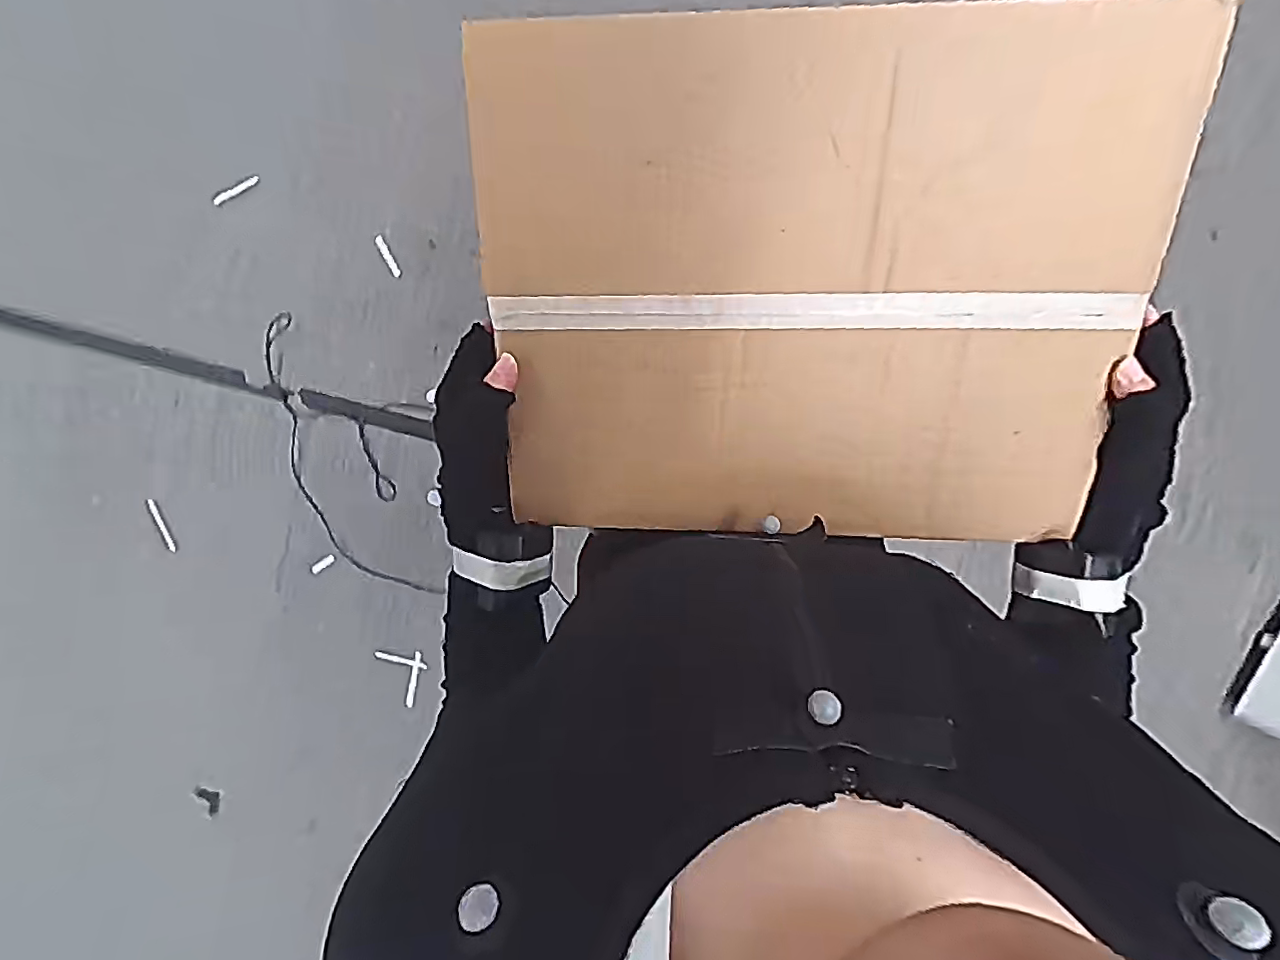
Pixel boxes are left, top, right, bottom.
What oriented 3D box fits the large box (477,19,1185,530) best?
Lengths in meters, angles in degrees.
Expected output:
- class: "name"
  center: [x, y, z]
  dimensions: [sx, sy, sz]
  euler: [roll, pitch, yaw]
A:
- class: "large box"
  center: [0.112, -0.158, 0.498]
  dimensions: [0.408, 0.320, 0.320]
  euler: [0, 112, 4]
